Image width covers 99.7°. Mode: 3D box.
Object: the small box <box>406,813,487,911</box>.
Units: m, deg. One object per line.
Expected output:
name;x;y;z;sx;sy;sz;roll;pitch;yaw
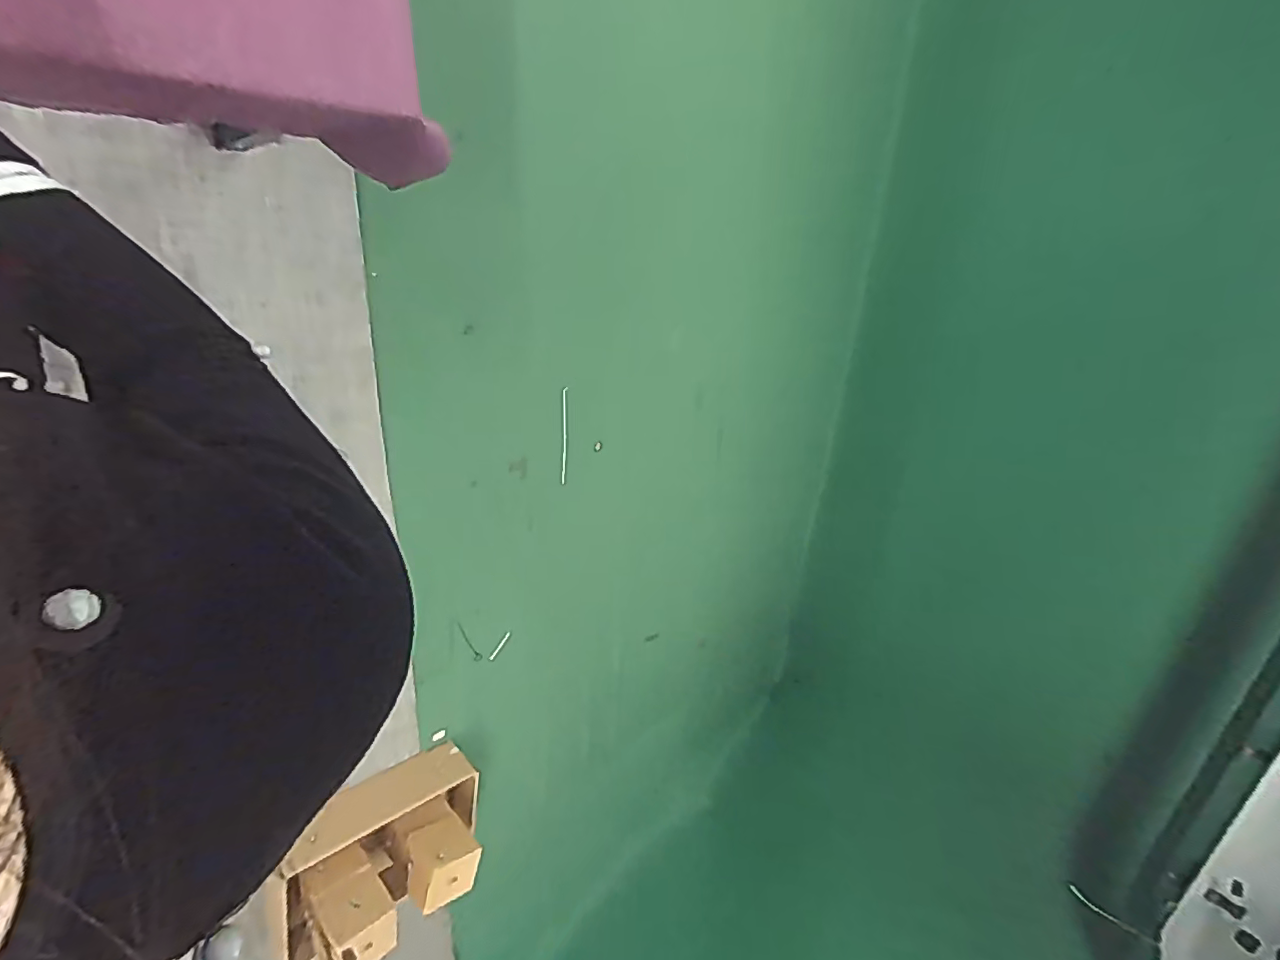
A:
small box;-0.638;1.240;1.775;0.179;0.176;0.168;7;102;-48

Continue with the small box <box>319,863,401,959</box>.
small box;-0.823;1.290;1.584;0.179;0.176;0.168;-11;114;-47
